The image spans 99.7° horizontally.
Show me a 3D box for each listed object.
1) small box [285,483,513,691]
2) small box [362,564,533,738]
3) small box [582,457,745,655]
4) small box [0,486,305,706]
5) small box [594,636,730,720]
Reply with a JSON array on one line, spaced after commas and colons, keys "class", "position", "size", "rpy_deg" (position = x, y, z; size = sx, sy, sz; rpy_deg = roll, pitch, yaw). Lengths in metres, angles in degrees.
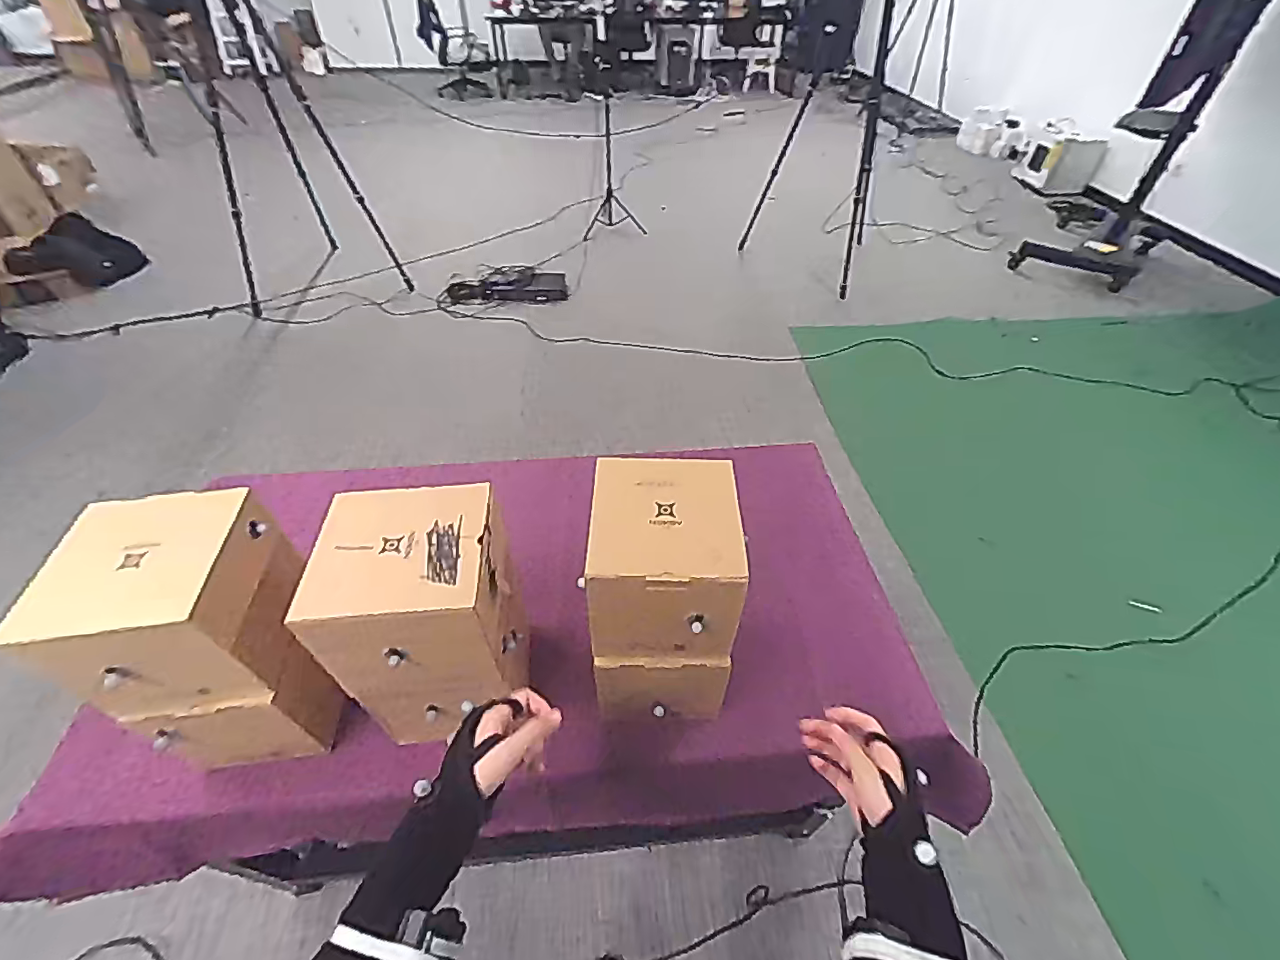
[{"class": "small box", "position": [-0.247, 0.123, 0.614], "size": [0.179, 0.176, 0.168], "rpy_deg": [-4, 45, -3]}, {"class": "small box", "position": [-0.250, 0.234, 0.735], "size": [0.179, 0.176, 0.168], "rpy_deg": [-4, 46, -4]}, {"class": "small box", "position": [0.027, 0.092, 0.646], "size": [0.168, 0.176, 0.179], "rpy_deg": [1, 44, 1]}, {"class": "small box", "position": [-0.507, 0.134, 0.605], "size": [0.168, 0.176, 0.179], "rpy_deg": [-7, 45, -7]}, {"class": "small box", "position": [0.026, 0.213, 0.756], "size": [0.168, 0.176, 0.179], "rpy_deg": [-1, 45, 0]}]
